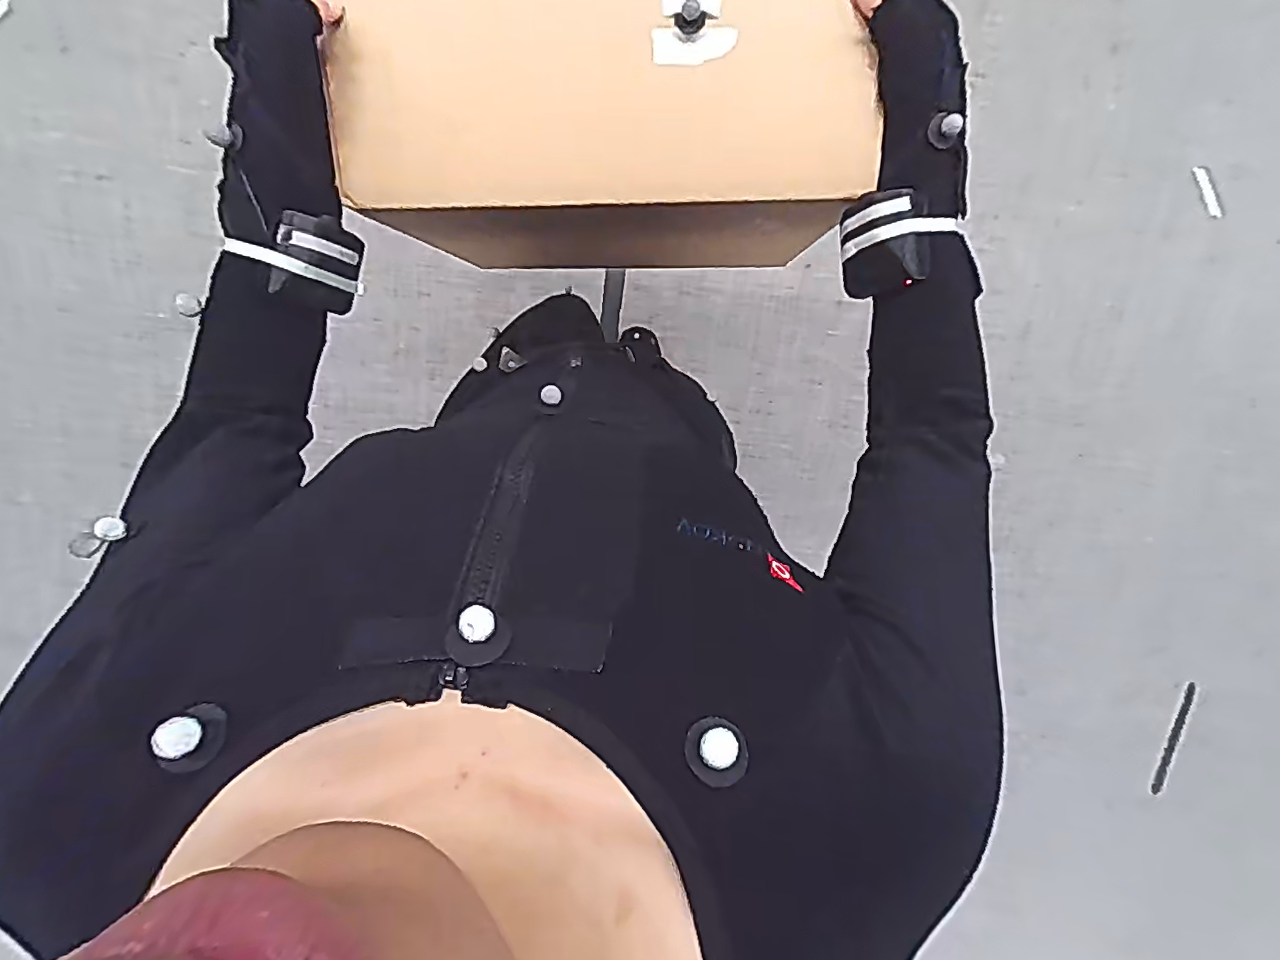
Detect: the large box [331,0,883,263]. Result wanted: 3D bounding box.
[{"bbox_3d":[-0.022,-0.405,0.525,0.408,0.320,0.320,0,103,3],"label":"large box"}]
